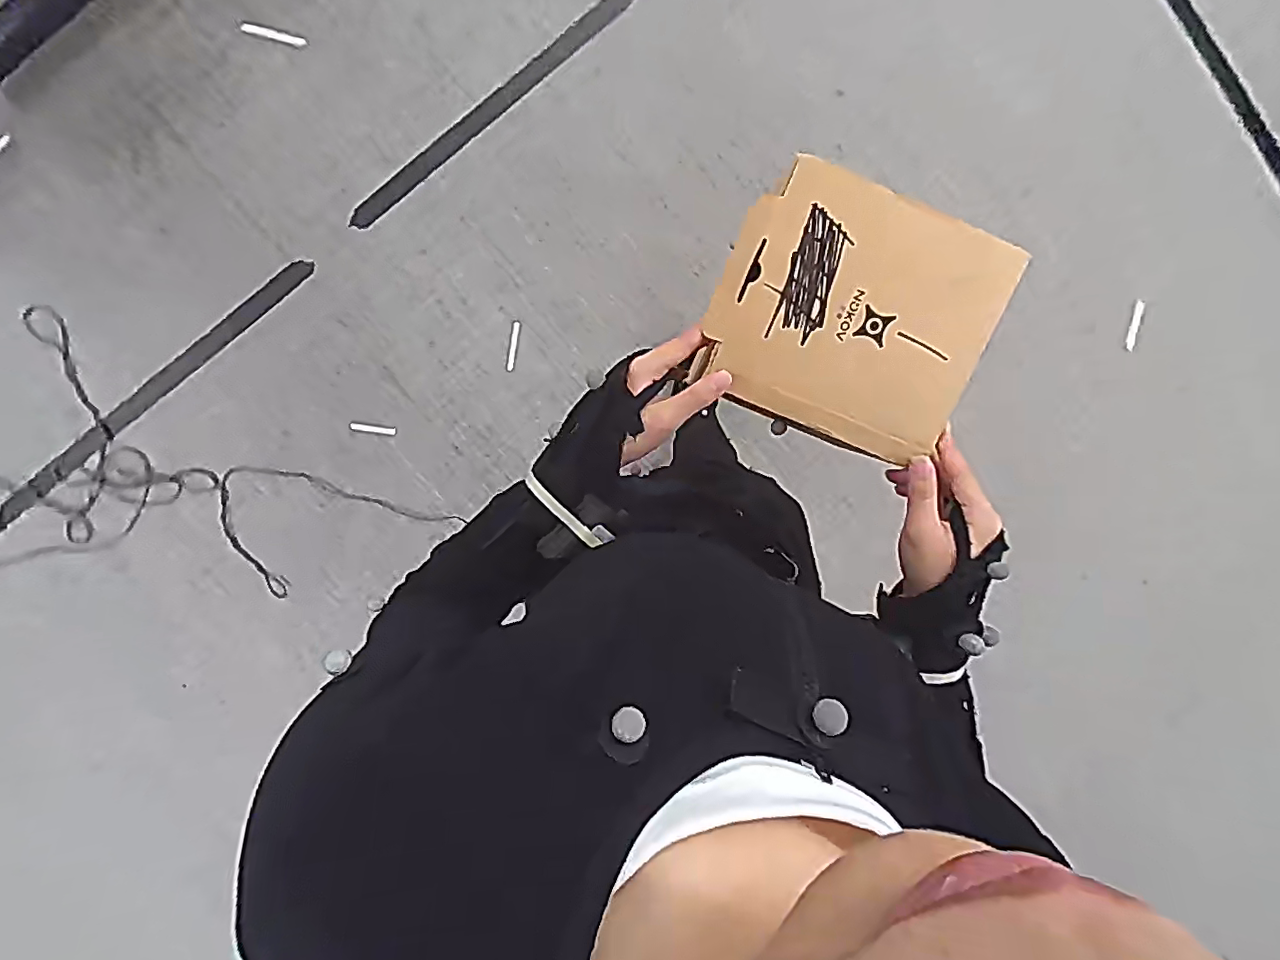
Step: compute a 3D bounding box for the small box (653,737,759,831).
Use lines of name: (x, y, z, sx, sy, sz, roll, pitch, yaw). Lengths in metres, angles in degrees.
small box: (0.146, 0.741, 1.271, 0.168, 0.176, 0.179, -36, 97, 1)

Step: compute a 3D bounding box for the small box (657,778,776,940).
small box: (0.146, 0.764, 1.109, 0.179, 0.176, 0.168, -33, 96, 0)

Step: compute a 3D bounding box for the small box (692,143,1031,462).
small box: (0.153, -0.130, 0.448, 0.179, 0.176, 0.168, 21, 100, -4)
